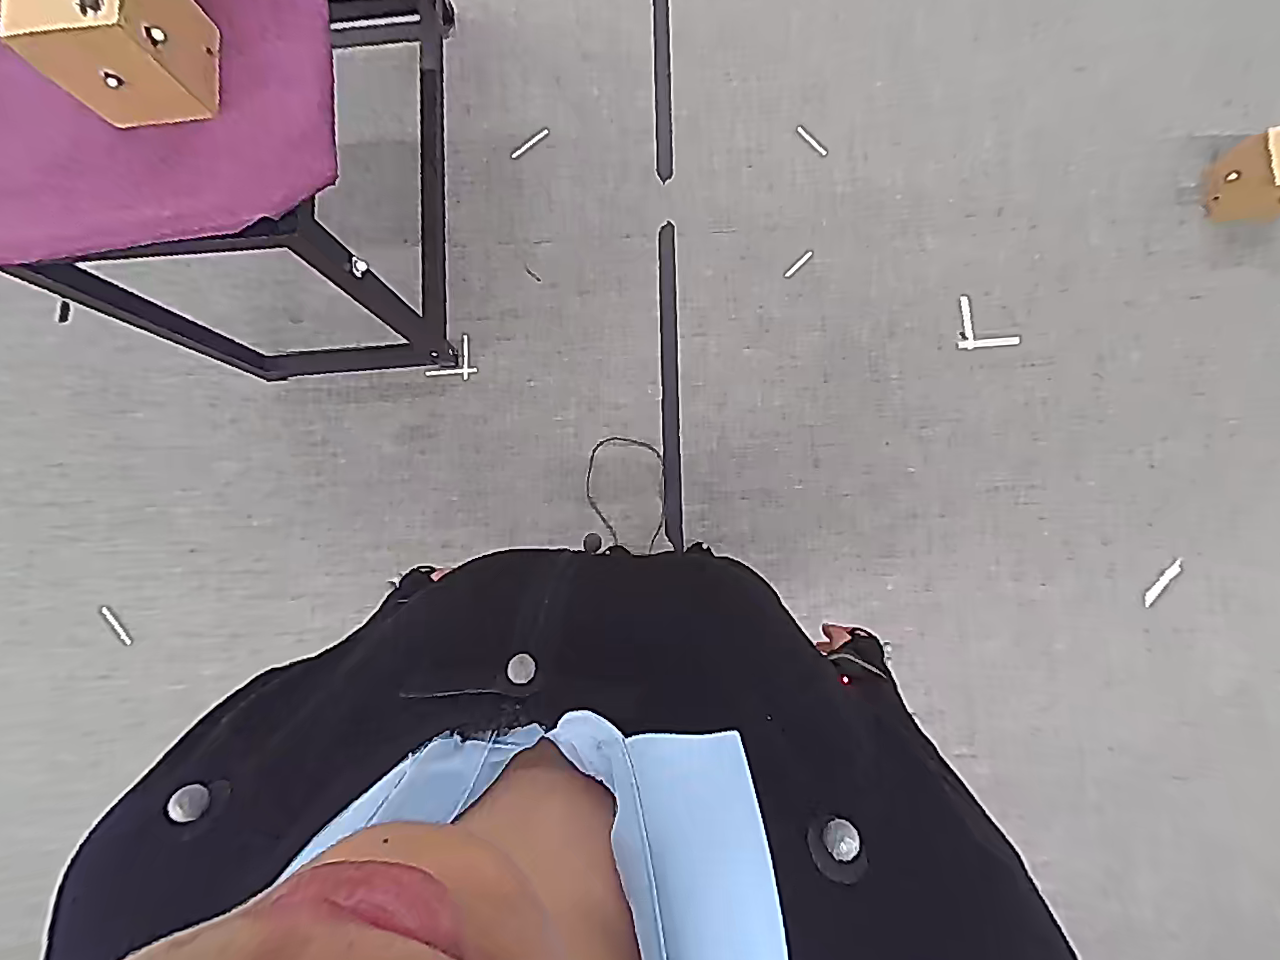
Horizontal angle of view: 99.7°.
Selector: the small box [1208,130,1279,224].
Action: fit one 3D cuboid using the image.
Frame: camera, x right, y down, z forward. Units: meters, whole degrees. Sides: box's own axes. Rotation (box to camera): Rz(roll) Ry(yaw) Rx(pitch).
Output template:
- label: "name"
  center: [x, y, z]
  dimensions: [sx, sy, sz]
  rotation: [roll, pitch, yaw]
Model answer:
- label: "small box"
  center: [1.731, -0.828, 1.491]
  dimensions: [0.179, 0.176, 0.168]
  rotation: [0, 84, 2]
